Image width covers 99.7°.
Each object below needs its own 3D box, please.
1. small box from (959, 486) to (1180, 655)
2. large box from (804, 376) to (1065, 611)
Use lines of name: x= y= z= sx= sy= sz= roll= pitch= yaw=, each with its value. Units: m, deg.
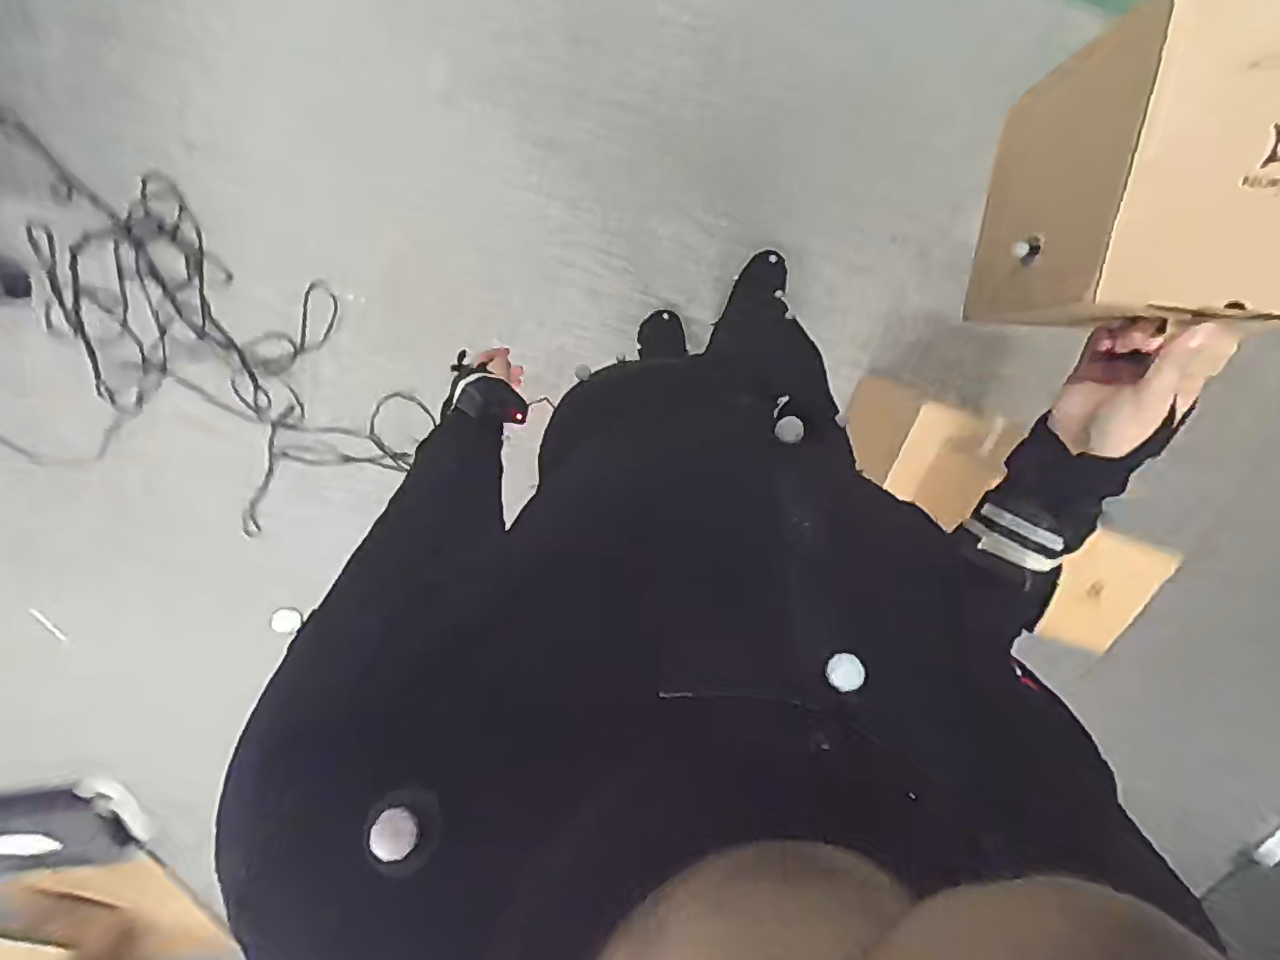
small box: x=0.646 y=0.131 z=0.843 sx=0.168 sy=0.176 sz=0.179 roll=19 pitch=111 yaw=-7
large box: x=0.627 y=0.017 z=1.235 sx=0.320 sy=0.320 sz=0.408 roll=16 pitch=111 yaw=-4
